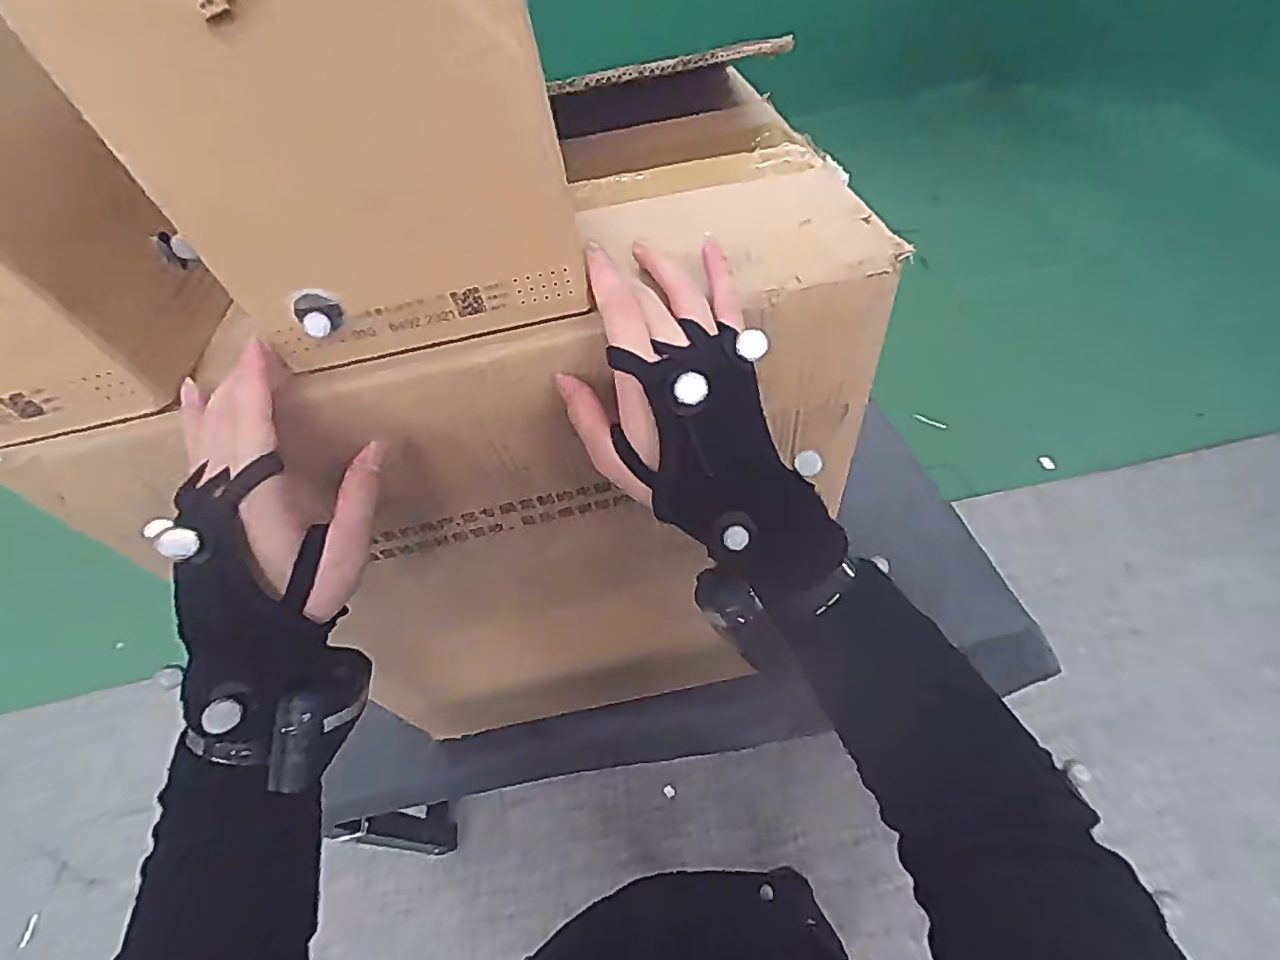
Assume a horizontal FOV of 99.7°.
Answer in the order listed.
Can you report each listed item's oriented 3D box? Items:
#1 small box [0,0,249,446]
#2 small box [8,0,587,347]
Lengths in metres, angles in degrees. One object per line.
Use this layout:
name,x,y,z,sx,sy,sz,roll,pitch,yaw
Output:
small box,-0.346,-0.137,0.282,0.168,0.176,0.179,-12,51,3
small box,-0.129,-0.188,0.286,0.168,0.176,0.179,-12,51,-1
